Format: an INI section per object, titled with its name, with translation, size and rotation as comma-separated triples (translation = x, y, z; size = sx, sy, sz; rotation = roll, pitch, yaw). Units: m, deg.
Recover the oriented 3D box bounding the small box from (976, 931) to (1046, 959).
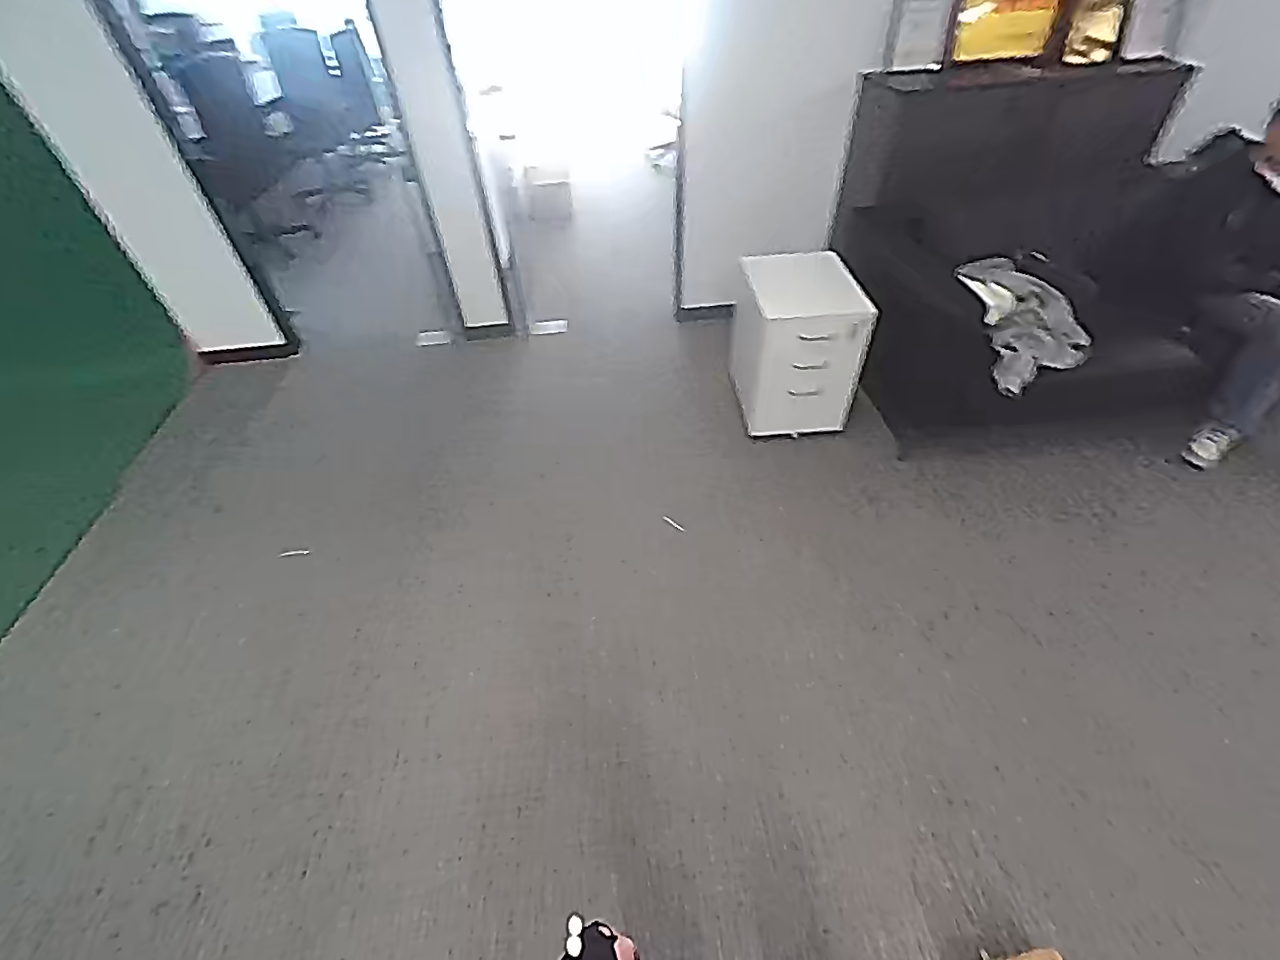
[small box]
translation = 0.737, 1.033, 1.039
size = 0.168, 0.176, 0.179
rotation = -29, 49, -27
